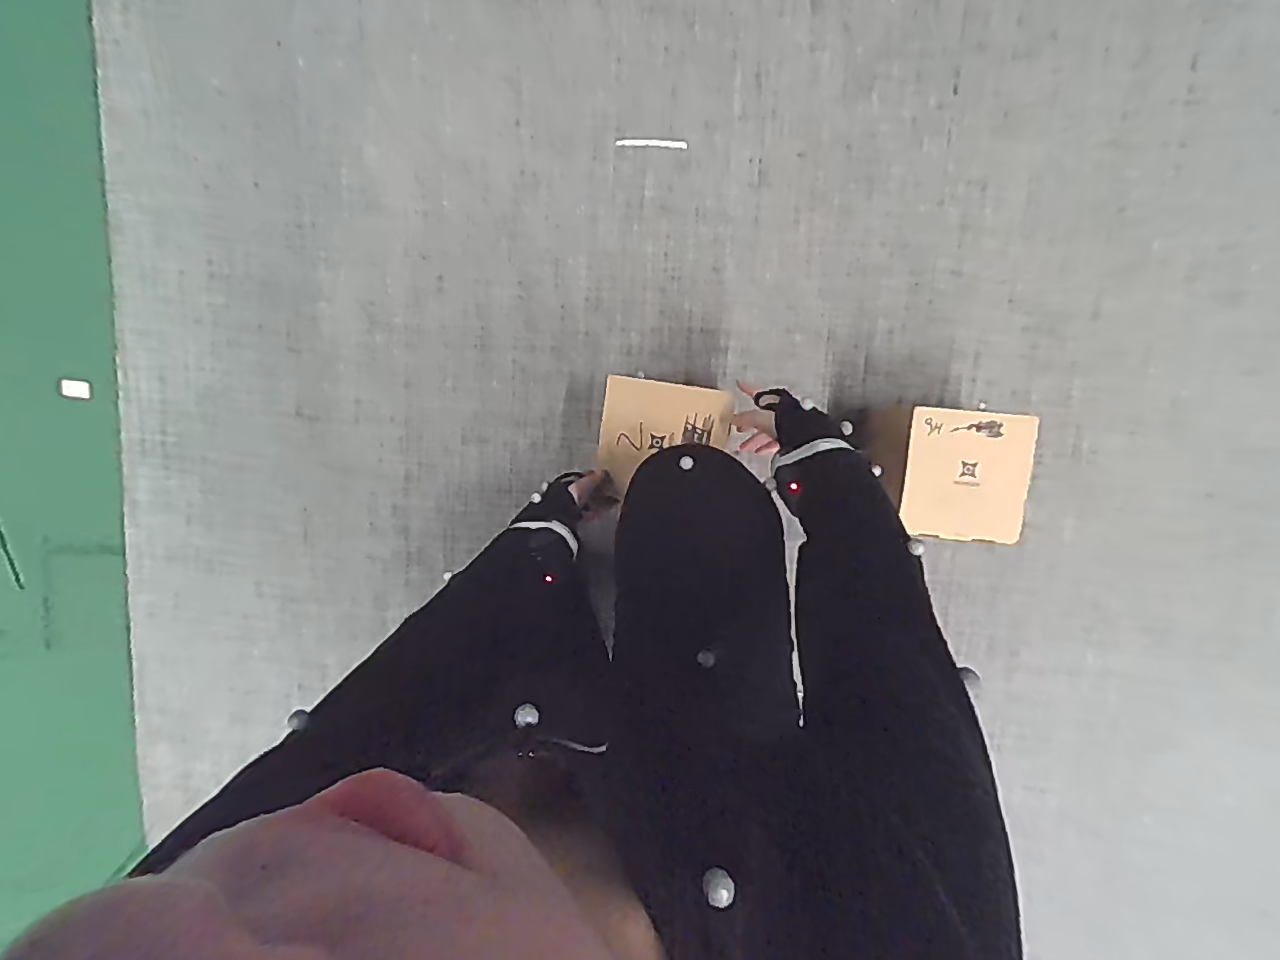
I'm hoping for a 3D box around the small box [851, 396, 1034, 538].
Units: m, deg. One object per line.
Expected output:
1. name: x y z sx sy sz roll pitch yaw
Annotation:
1. small box: 0.430 -0.028 0.801 0.168 0.176 0.179 6 99 0
